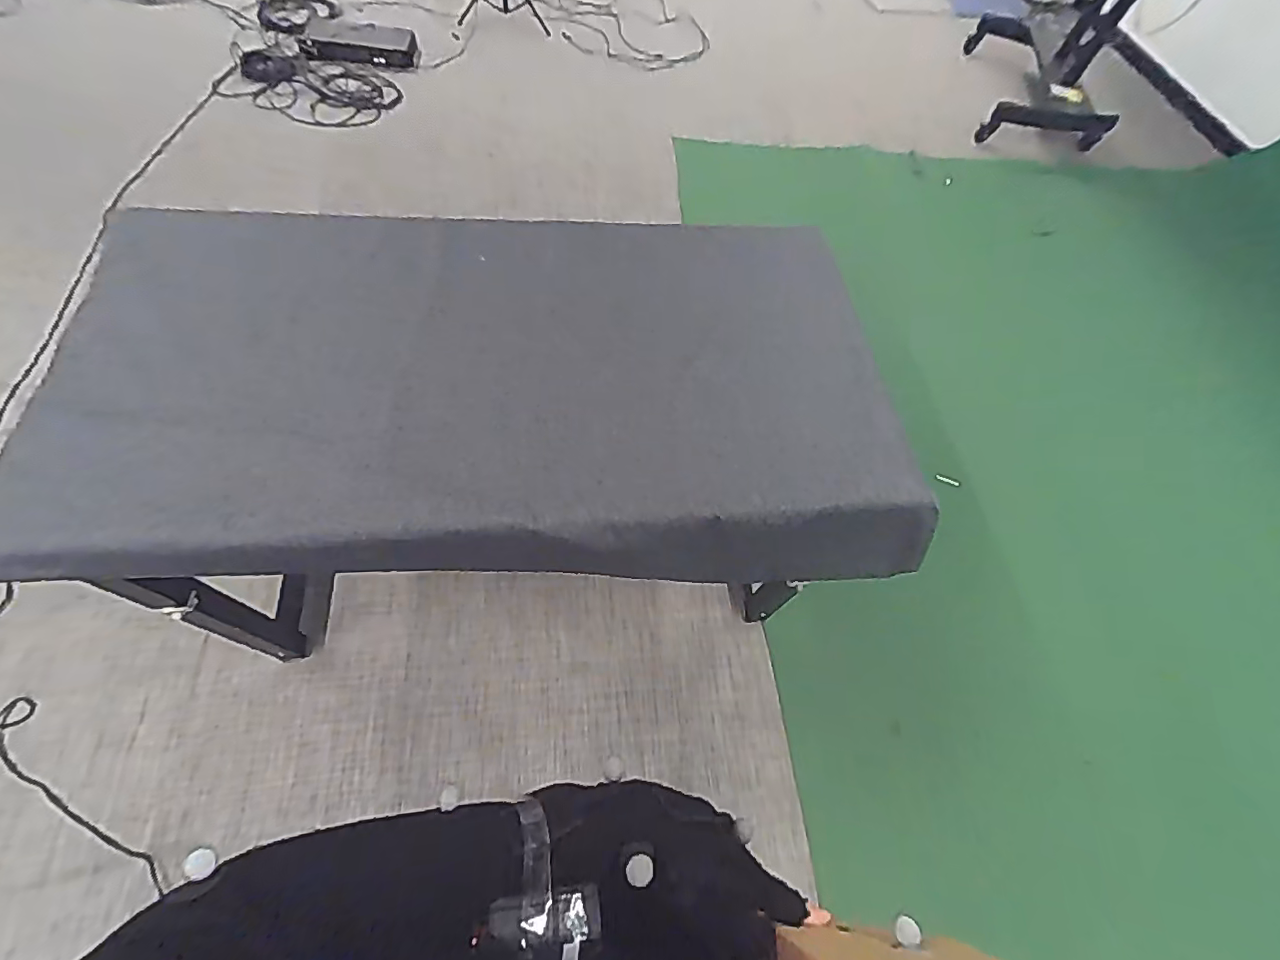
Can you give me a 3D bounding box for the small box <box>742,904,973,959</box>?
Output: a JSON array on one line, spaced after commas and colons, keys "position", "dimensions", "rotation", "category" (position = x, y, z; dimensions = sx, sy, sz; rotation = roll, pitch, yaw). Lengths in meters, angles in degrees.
[{"position": [0.151, 0.366, 0.288], "dimensions": [0.168, 0.176, 0.179], "rotation": [13, 62, -3], "category": "small box"}]
